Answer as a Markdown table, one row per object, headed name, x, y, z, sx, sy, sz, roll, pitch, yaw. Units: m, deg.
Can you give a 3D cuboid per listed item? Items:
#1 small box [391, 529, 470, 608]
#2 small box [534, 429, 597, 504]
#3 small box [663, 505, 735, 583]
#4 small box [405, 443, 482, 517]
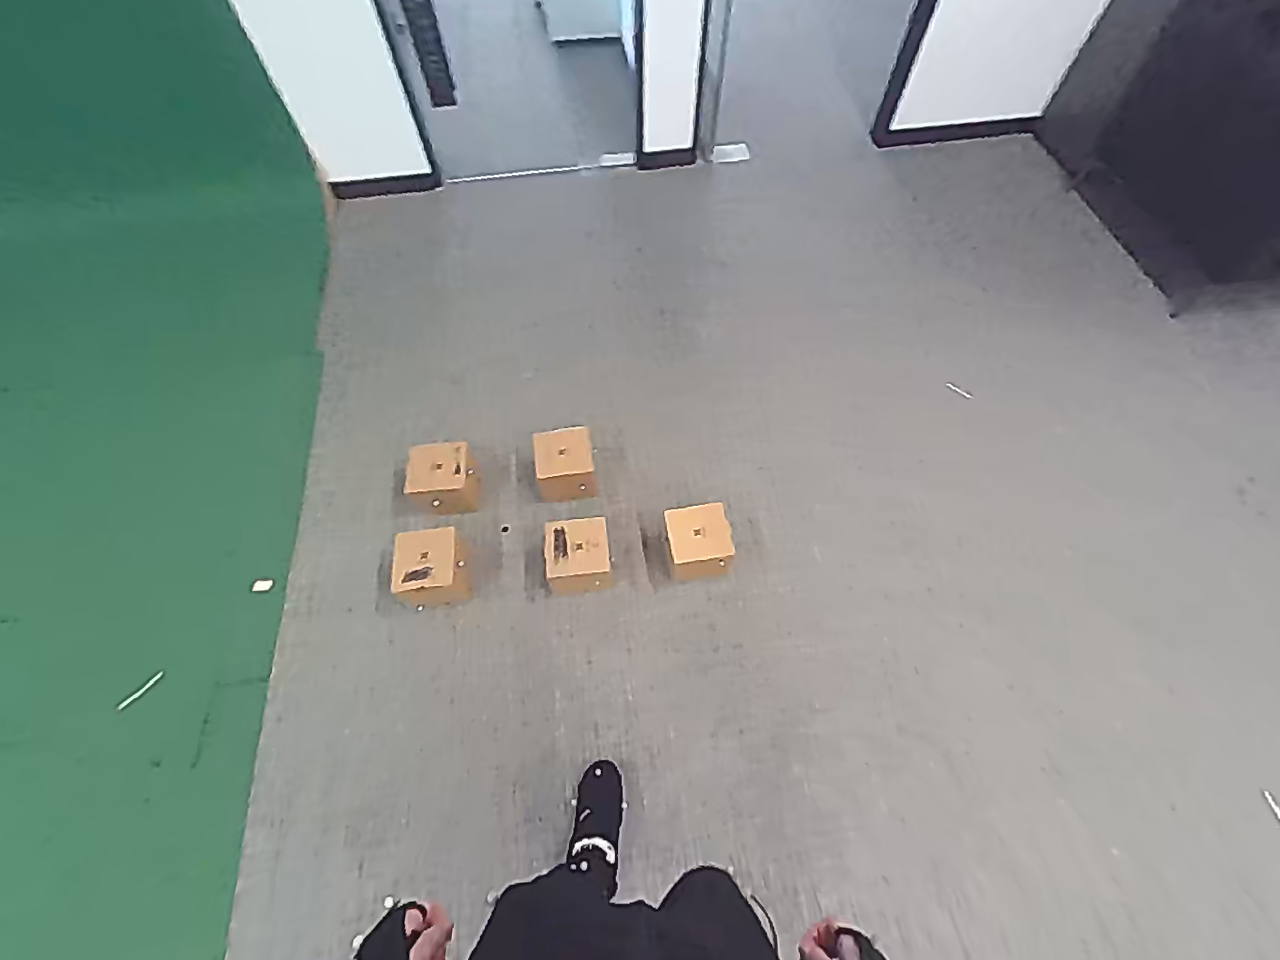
| name | x | y | z | sx | sy | sz | roll | pitch | yaw |
| --- | --- | --- | --- | --- | --- | --- | --- | --- | --- |
| small box | -0.588 | 0.258 | 1.540 | 0.168 | 0.176 | 0.179 | -6 | 60 | -4 |
| small box | -0.231 | -0.039 | 1.706 | 0.179 | 0.176 | 0.168 | -8 | 60 | -4 |
| small box | 0.165 | 0.191 | 1.582 | 0.179 | 0.176 | 0.168 | -8 | 61 | -6 |
| small box | -0.605 | 0.005 | 1.681 | 0.179 | 0.176 | 0.168 | -5 | 61 | -2 |
